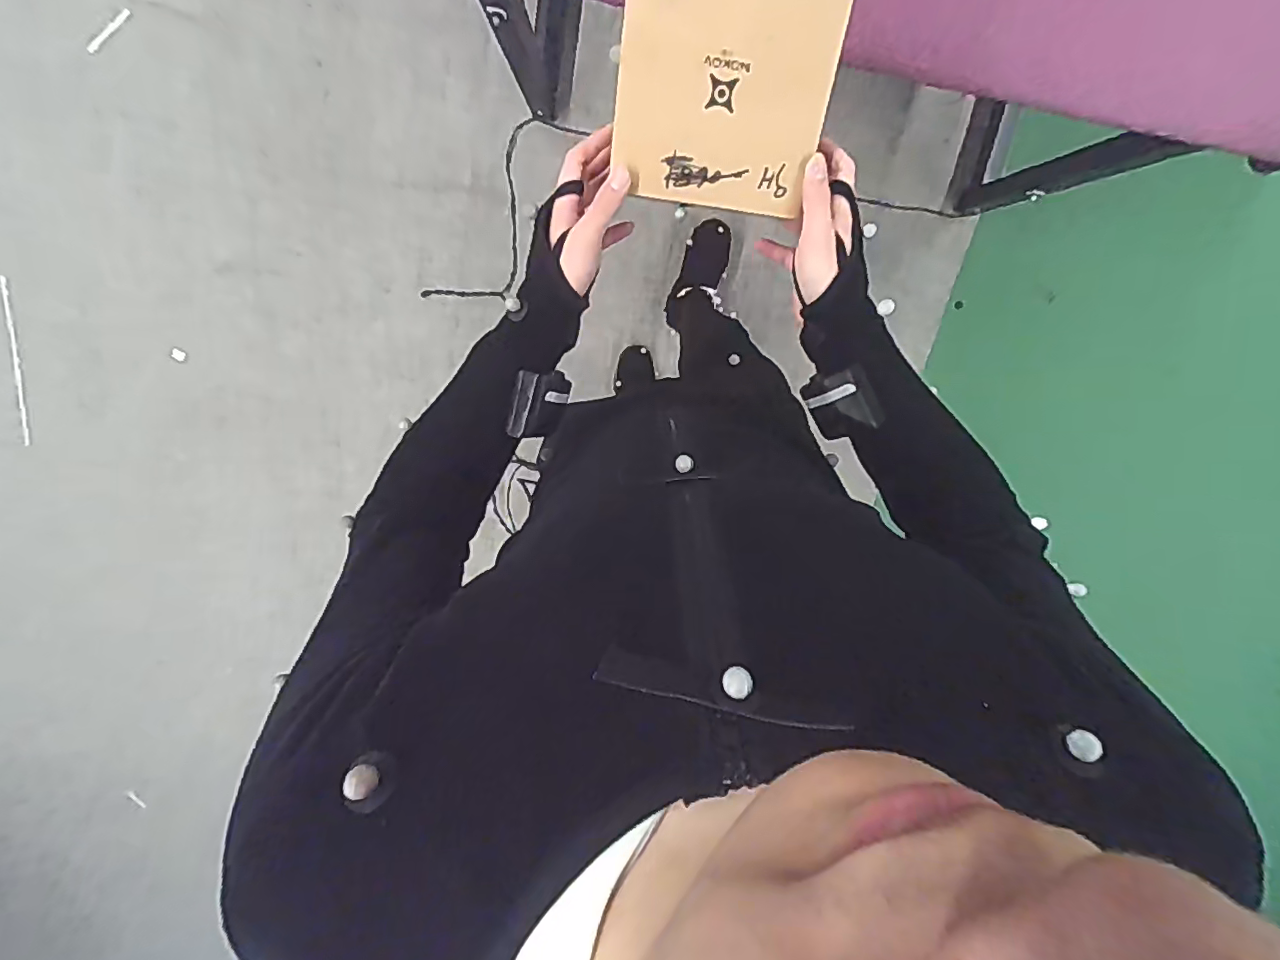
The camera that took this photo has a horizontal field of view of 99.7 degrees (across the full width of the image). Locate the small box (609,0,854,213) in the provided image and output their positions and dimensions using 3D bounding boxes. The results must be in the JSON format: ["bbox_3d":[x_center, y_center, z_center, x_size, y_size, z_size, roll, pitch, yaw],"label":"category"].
[{"bbox_3d":[0.066,-0.347,0.481,0.168,0.176,0.179,7,118,-3],"label":"small box"}]
